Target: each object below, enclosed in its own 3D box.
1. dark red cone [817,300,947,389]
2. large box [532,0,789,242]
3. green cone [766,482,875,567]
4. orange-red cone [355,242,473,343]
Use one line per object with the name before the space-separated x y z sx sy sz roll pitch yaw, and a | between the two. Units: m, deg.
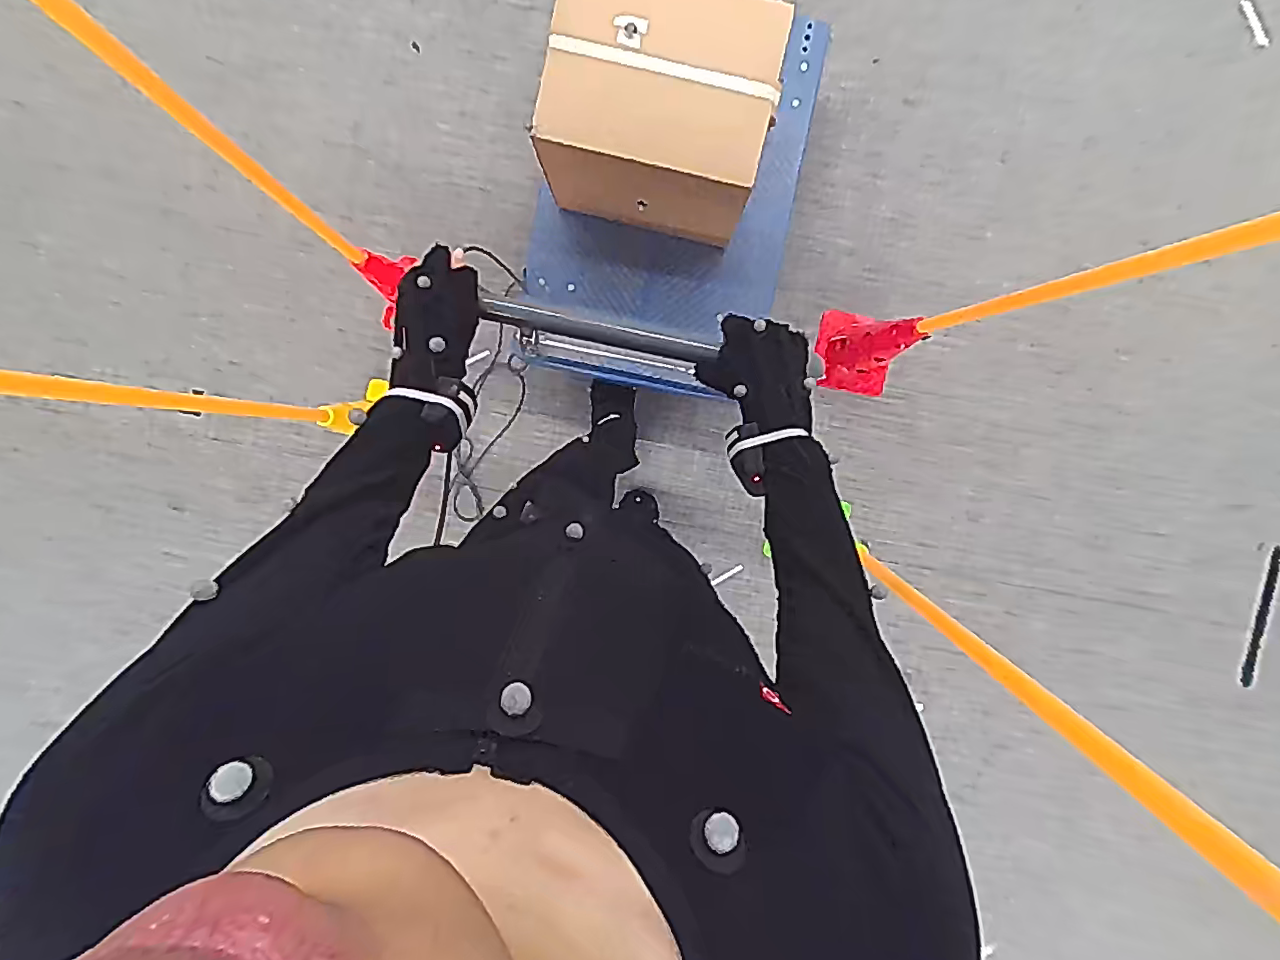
dark red cone | 0.569 -0.336 1.232 0.201 0.394 0.202 11 94 -2
large box | 0.039 -0.718 1.088 0.408 0.320 0.320 13 95 0
green cone | 0.455 0.133 1.283 0.202 0.368 0.200 15 94 -2
orange-red cone | -0.557 -0.471 1.258 0.198 0.360 0.199 19 92 -1
